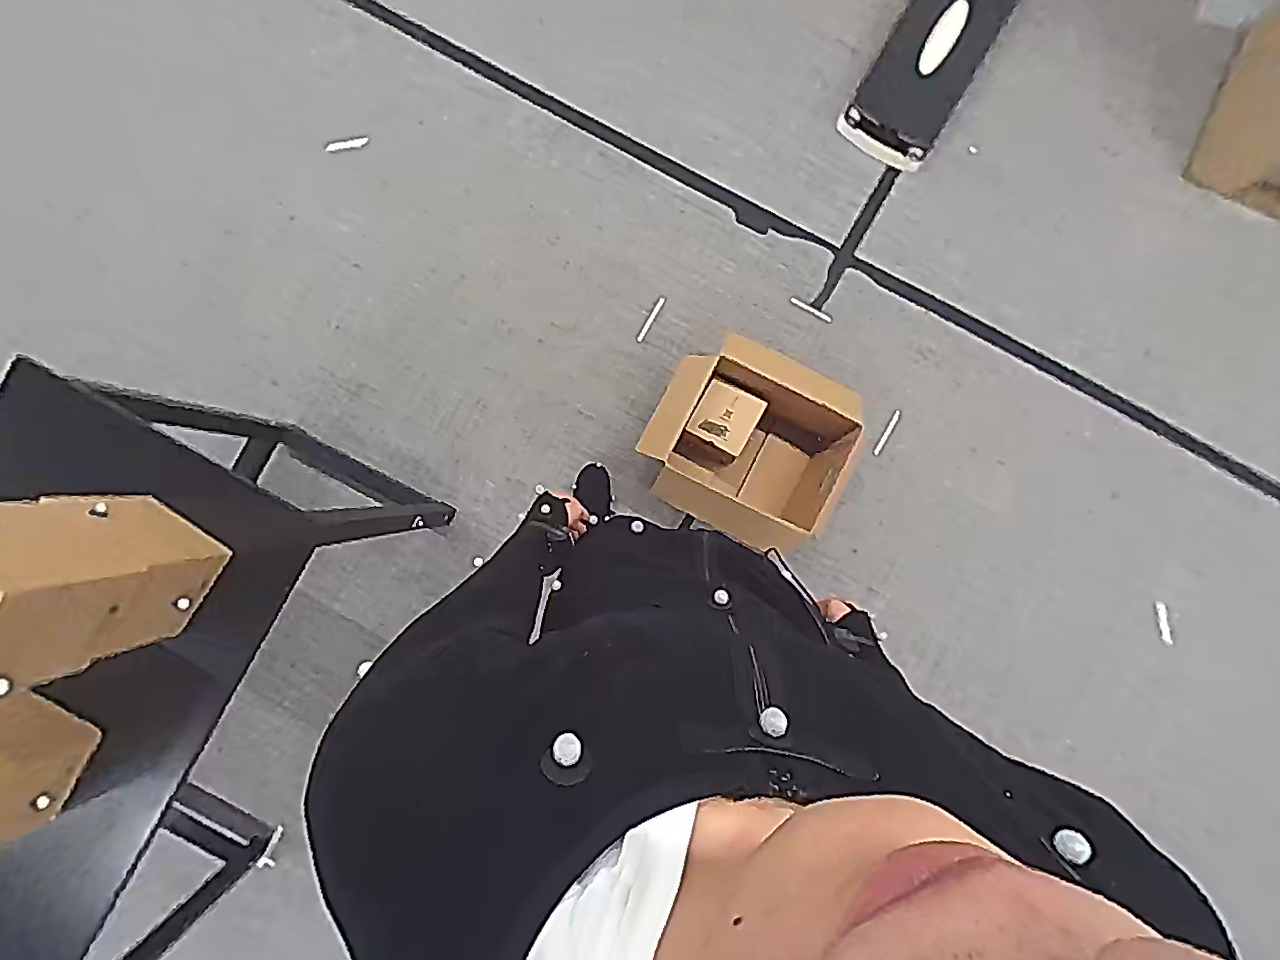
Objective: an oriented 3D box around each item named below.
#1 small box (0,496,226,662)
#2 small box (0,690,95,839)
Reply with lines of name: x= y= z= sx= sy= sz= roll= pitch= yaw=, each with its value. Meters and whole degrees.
small box: x=-0.798 y=0.139 z=0.820 sx=0.179 sy=0.176 sz=0.168 roll=34 pitch=90 yaw=1
small box: x=-1.011 y=0.444 z=0.814 sx=0.179 sy=0.176 sz=0.168 roll=29 pitch=89 yaw=0
